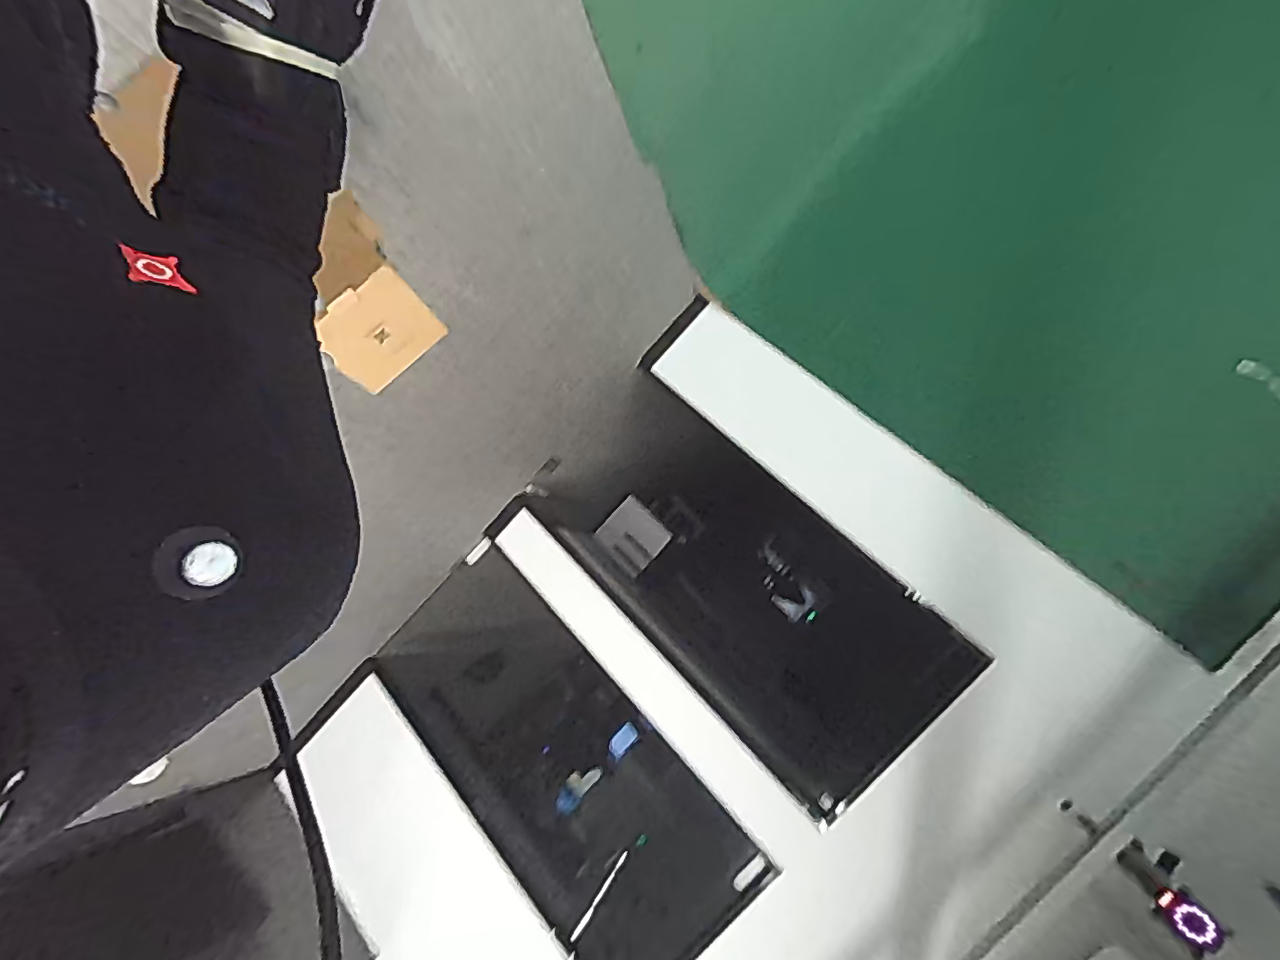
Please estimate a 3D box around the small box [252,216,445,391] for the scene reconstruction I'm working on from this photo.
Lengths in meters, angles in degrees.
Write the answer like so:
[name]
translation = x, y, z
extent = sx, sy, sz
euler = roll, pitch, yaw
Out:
[small box]
translation = -0.454, -0.280, 0.852
extent = 0.168, 0.176, 0.179
euler = -42, 162, -4
